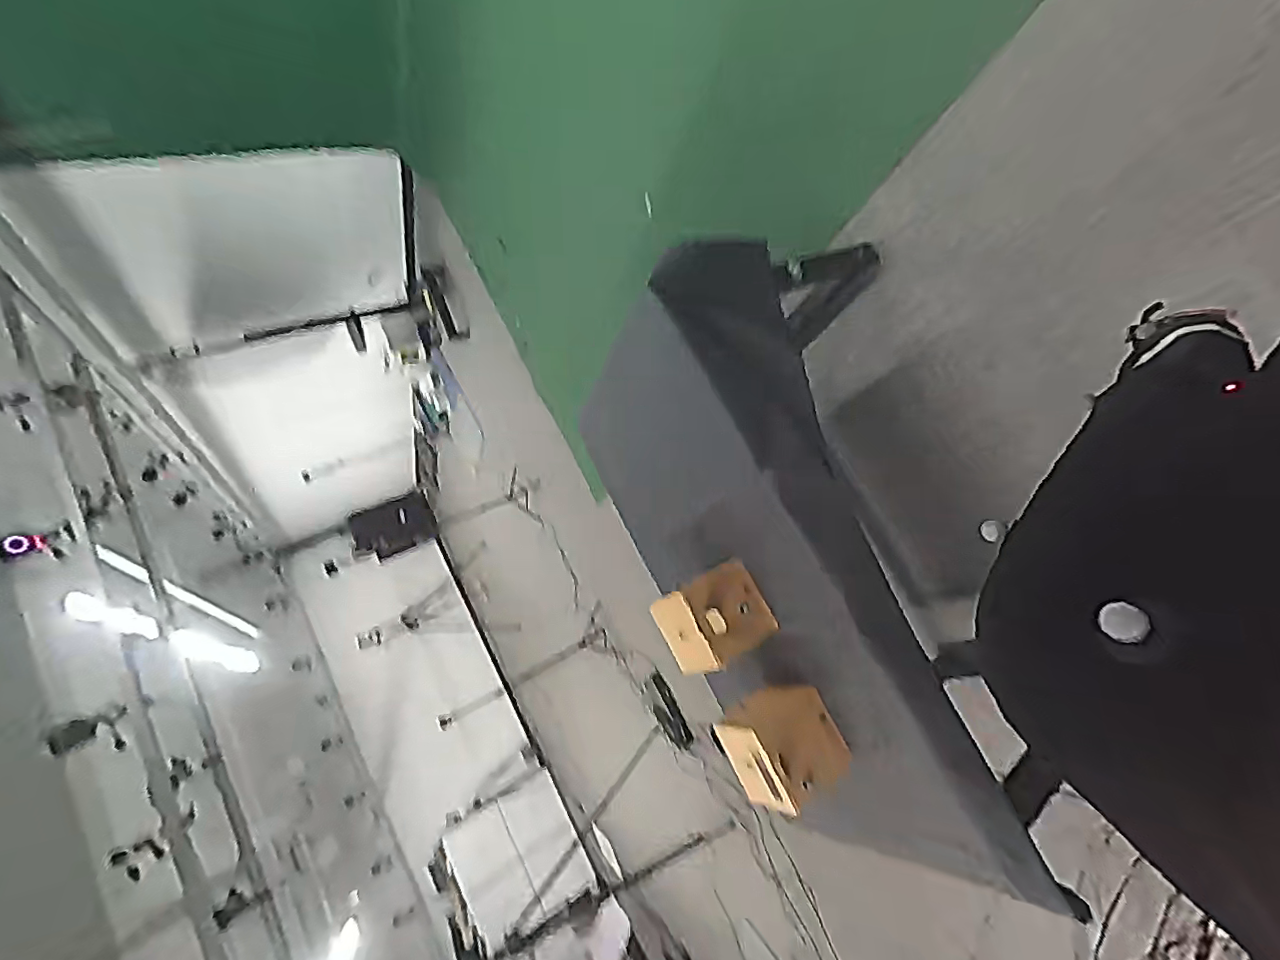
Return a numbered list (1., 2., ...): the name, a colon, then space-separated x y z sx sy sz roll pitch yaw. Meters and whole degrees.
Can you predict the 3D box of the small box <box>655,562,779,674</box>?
1. small box: 0.164 0.299 1.168 0.168 0.176 0.179 62 151 11
